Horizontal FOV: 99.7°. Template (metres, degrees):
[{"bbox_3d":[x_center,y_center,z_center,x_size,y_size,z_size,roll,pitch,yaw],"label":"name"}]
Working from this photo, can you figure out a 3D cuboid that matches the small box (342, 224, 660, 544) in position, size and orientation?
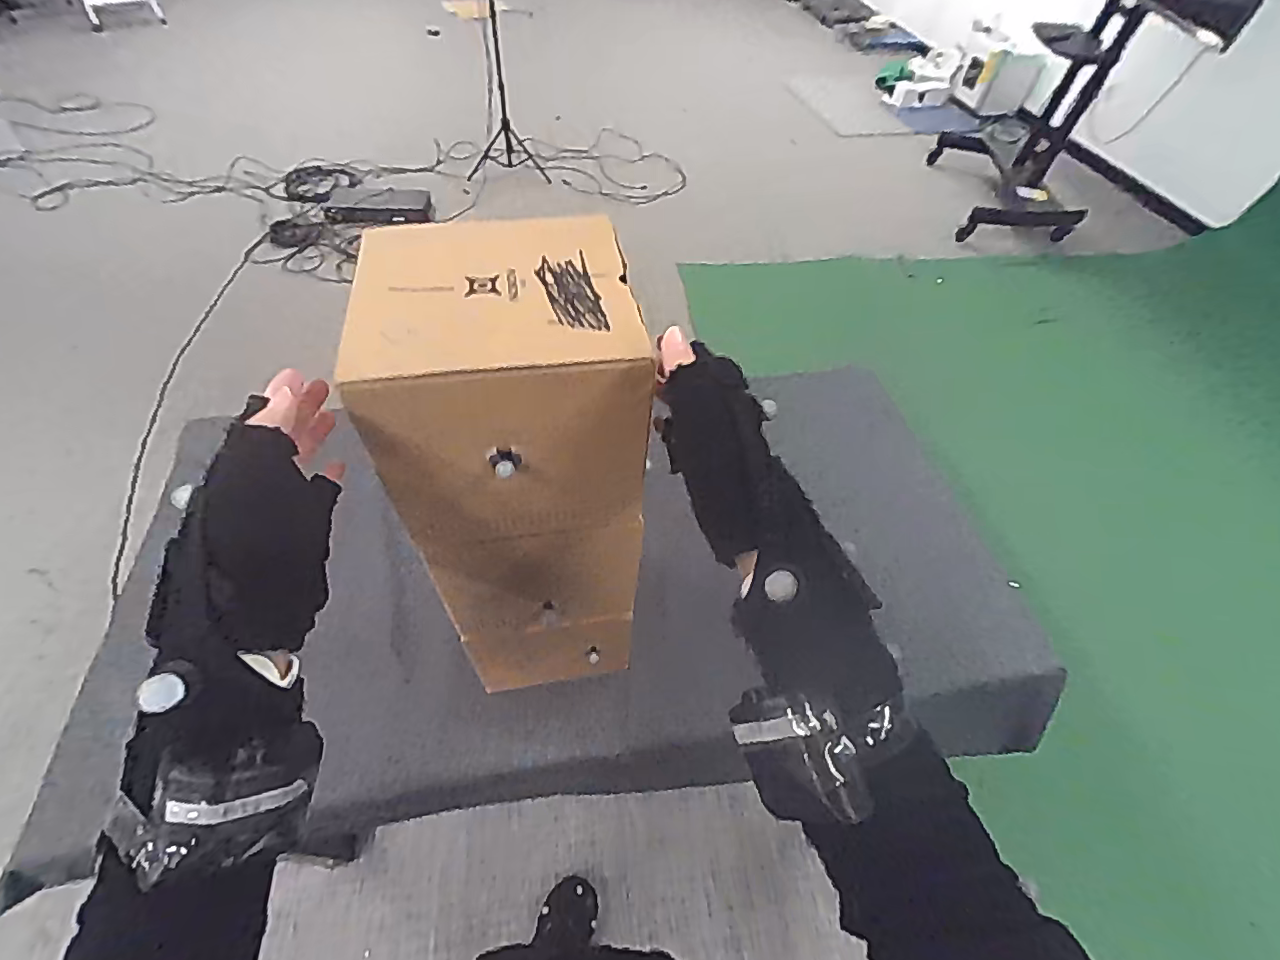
[{"bbox_3d":[-0.093,-0.070,0.409,0.179,0.176,0.168,-7,52,-9],"label":"small box"}]

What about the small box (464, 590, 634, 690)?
[{"bbox_3d":[-0.110,0.139,0.662,0.179,0.176,0.168,-7,52,-9],"label":"small box"}]

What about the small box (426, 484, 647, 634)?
[{"bbox_3d":[-0.101,0.034,0.537,0.179,0.176,0.168,-6,52,-11],"label":"small box"}]
